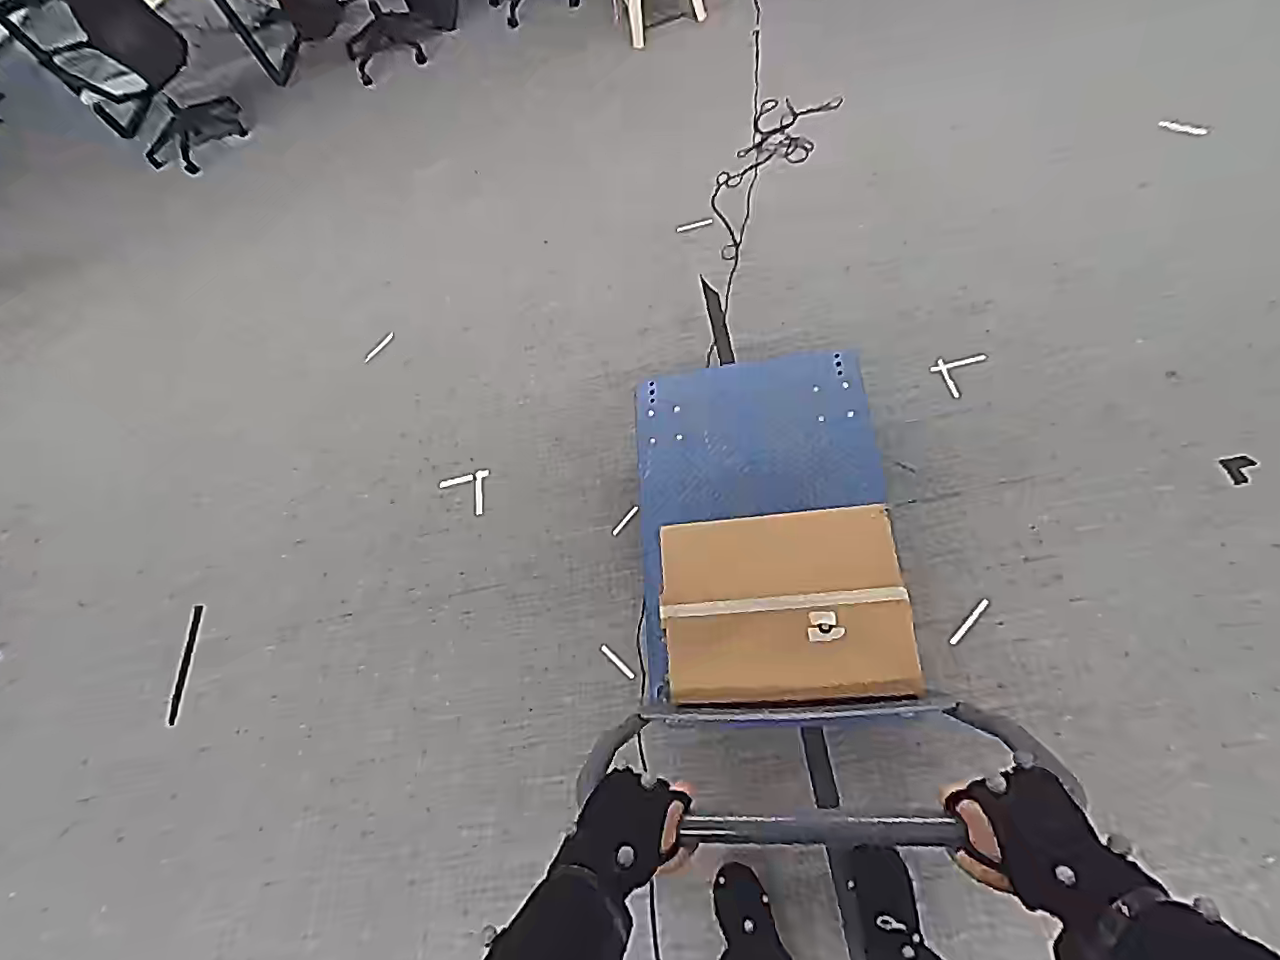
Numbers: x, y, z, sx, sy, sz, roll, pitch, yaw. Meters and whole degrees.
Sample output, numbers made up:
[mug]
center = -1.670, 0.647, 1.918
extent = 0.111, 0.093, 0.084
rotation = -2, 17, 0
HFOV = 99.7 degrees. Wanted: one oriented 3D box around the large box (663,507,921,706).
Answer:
[large box]
center = 0.276, 0.265, 1.081
extent = 0.408, 0.320, 0.320
rotation = -7, 71, 10
